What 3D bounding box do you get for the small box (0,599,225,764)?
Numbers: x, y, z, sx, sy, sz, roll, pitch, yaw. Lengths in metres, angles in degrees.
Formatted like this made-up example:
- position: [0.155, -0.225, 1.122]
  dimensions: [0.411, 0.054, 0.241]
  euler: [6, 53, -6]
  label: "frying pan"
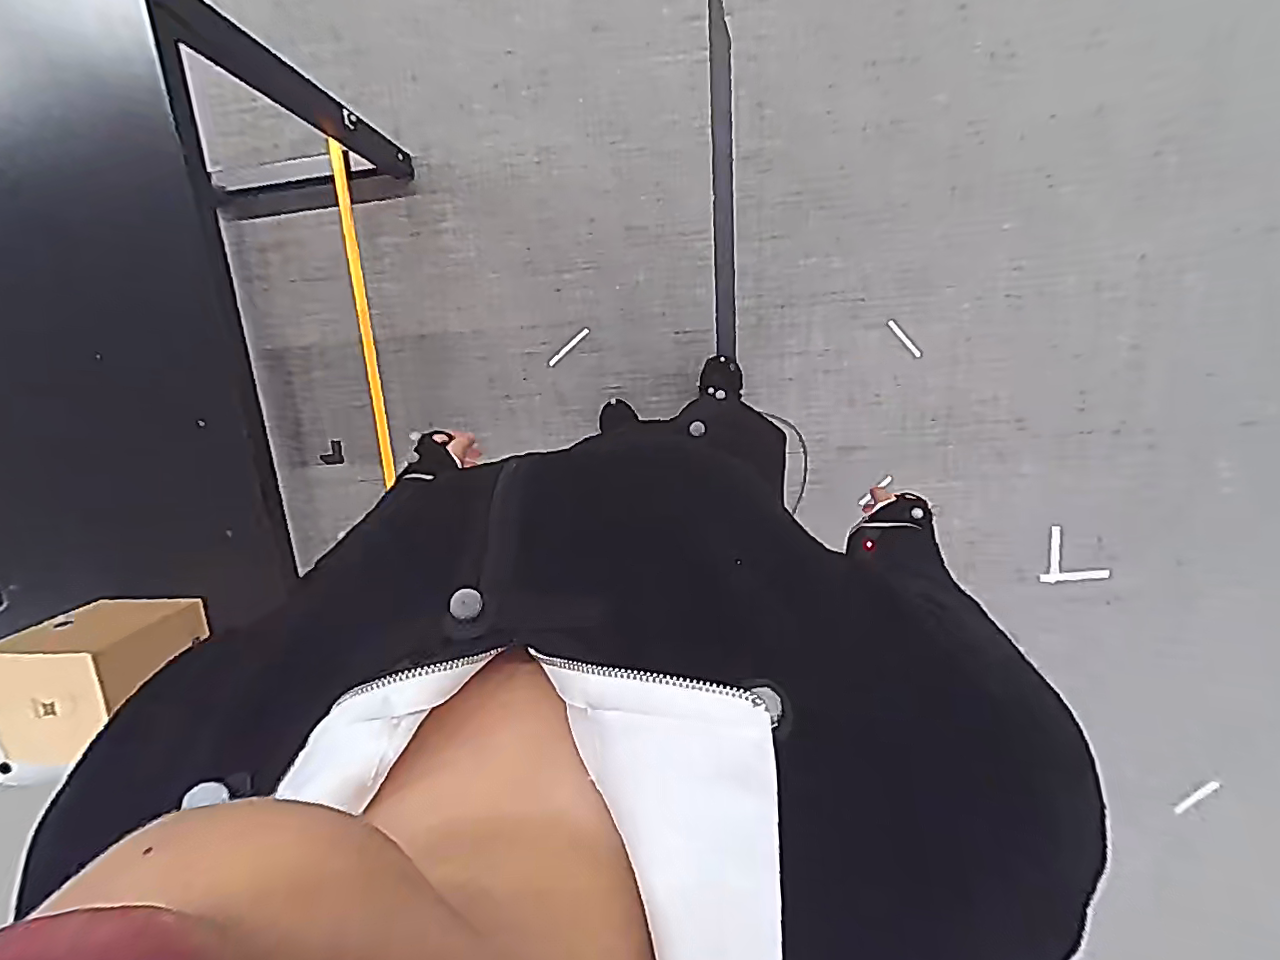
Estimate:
- position: [-0.765, 0.283, 0.788]
  dimensions: [0.179, 0.176, 0.168]
  euler: [-3, 103, 4]
  label: "small box"
